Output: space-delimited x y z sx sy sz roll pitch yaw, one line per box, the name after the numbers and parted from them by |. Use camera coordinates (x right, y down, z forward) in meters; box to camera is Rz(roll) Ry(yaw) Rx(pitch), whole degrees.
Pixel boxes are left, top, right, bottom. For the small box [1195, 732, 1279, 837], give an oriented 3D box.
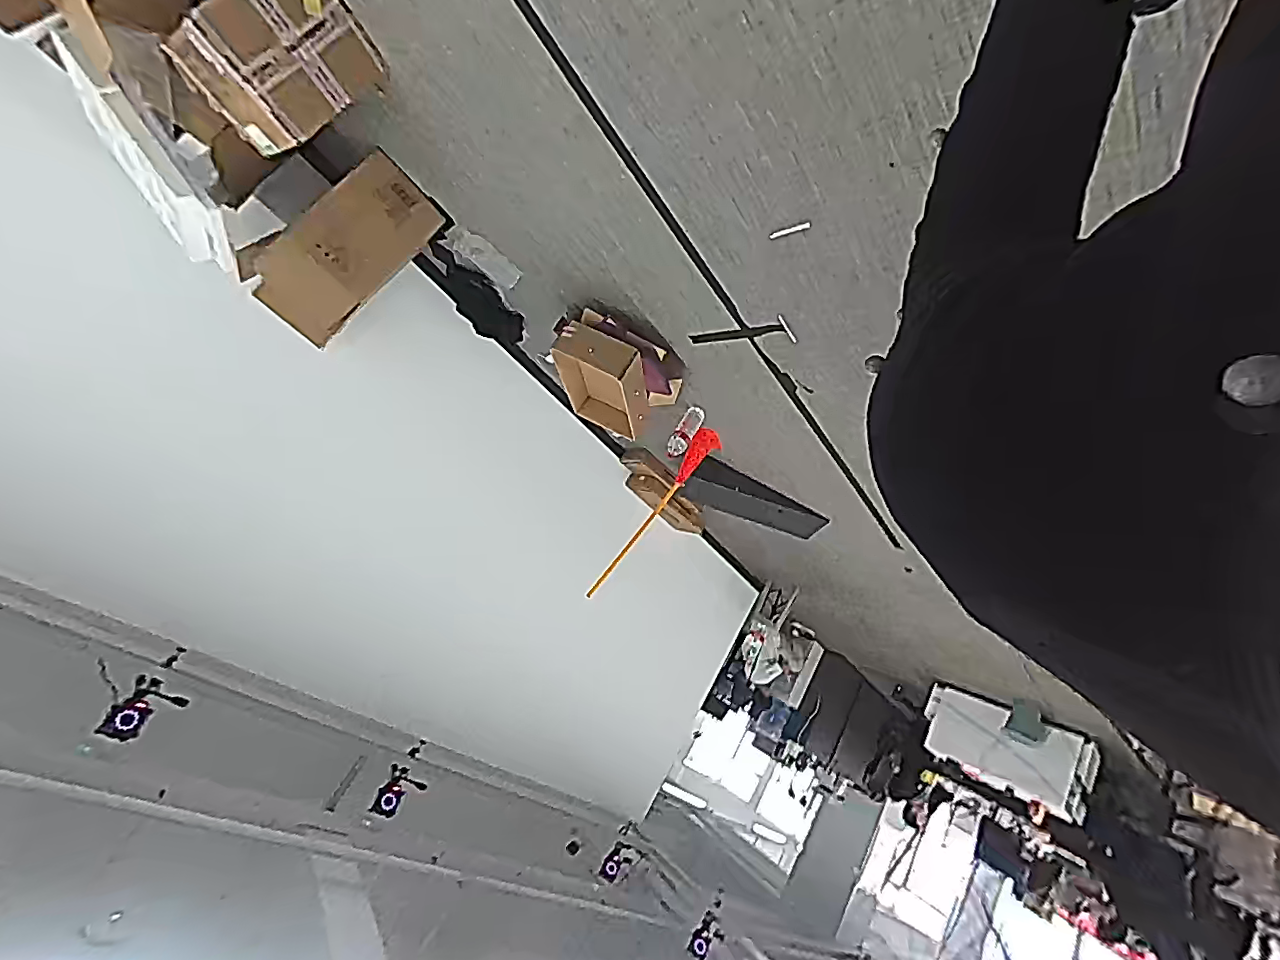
1.588 0.791 1.409 0.179 0.176 0.168 12 154 51 | small box
